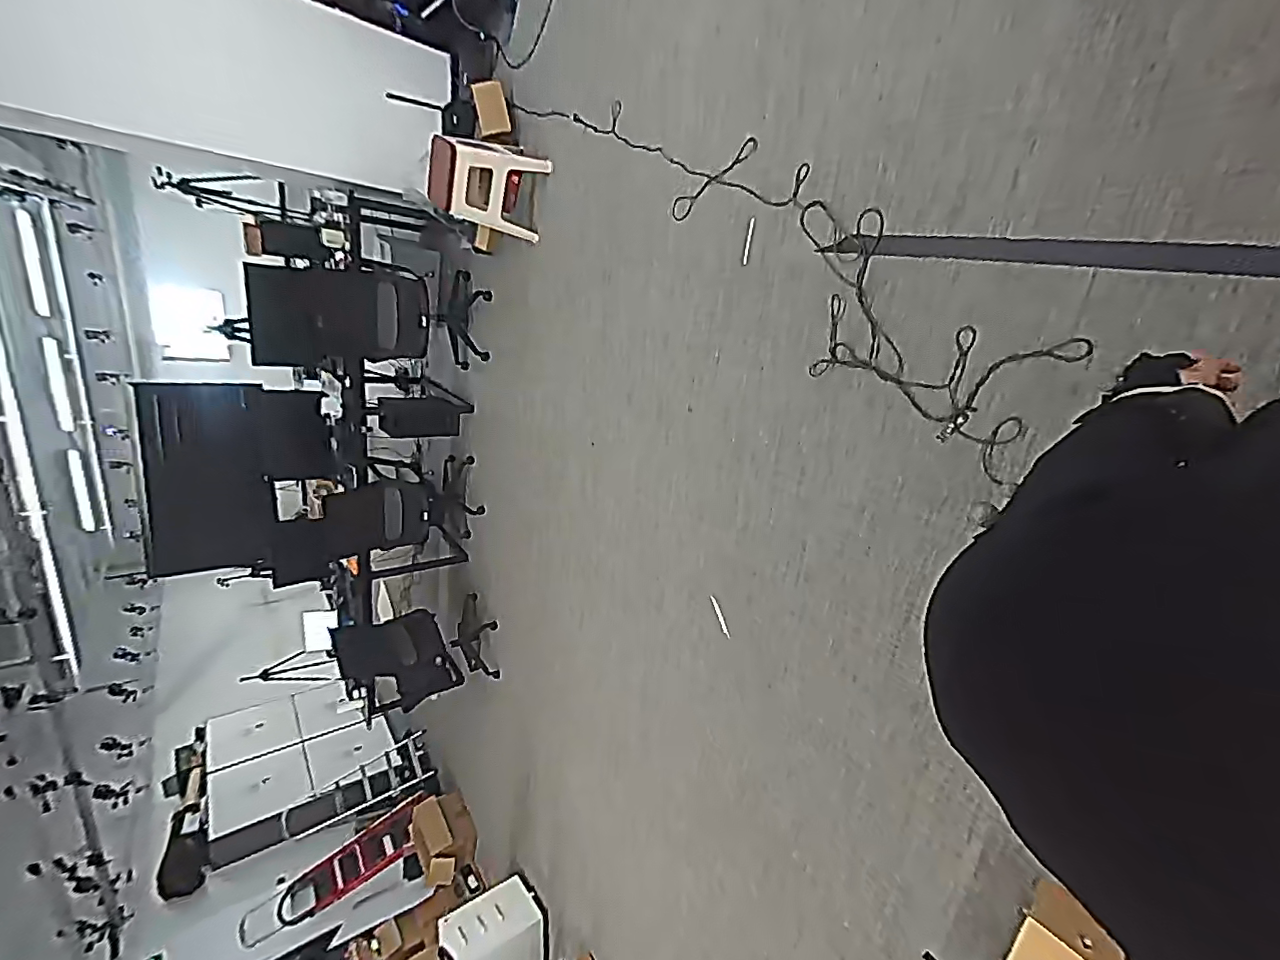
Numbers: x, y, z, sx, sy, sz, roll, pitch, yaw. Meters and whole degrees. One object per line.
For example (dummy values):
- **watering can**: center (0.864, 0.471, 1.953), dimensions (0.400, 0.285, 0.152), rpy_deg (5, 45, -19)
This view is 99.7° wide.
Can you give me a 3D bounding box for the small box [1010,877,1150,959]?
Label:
- **small box**: center (0.958, 1.018, 1.179), dimensions (0.179, 0.176, 0.168), rpy_deg (27, 117, 46)
